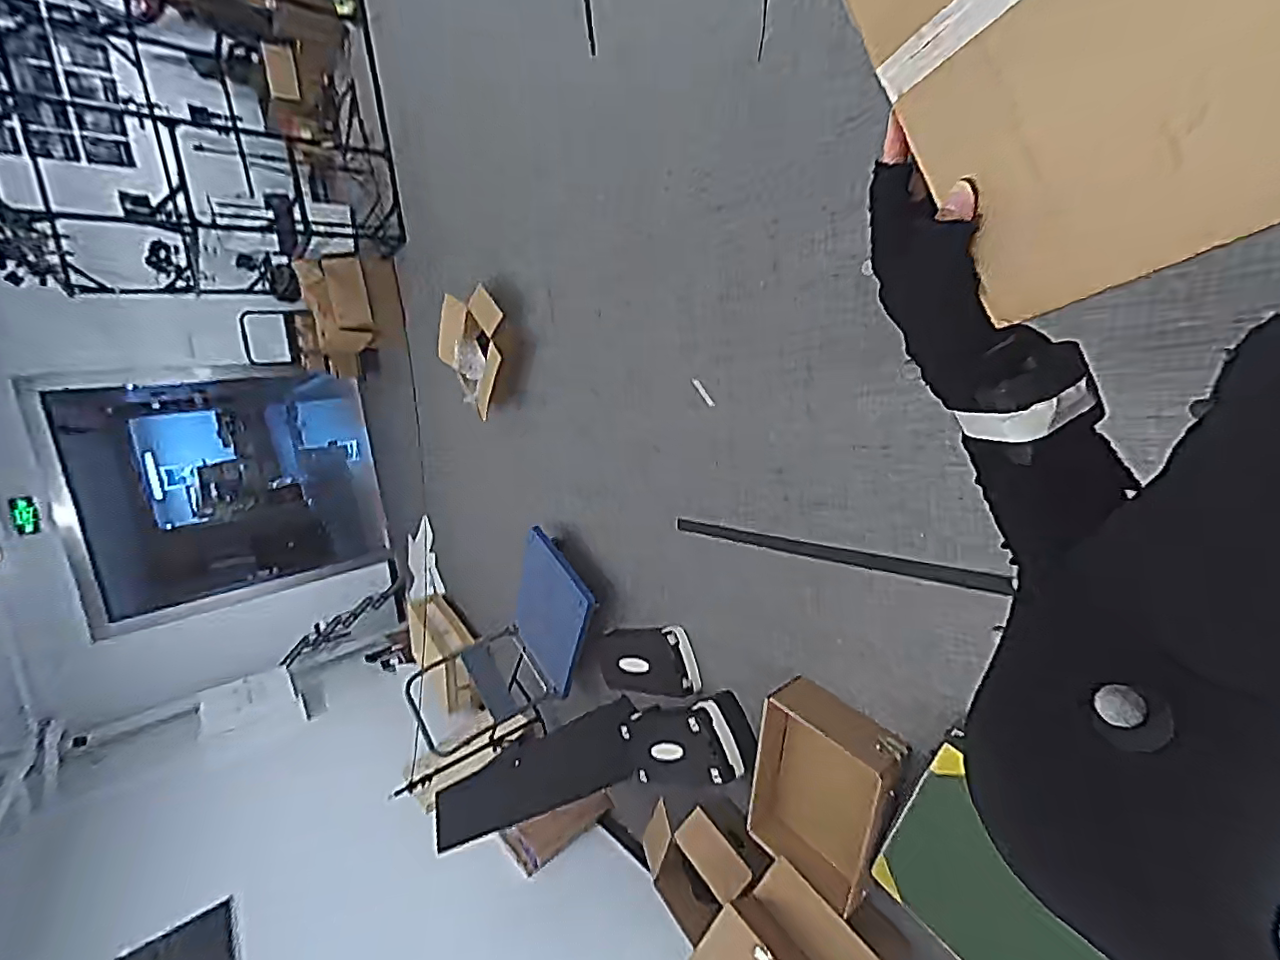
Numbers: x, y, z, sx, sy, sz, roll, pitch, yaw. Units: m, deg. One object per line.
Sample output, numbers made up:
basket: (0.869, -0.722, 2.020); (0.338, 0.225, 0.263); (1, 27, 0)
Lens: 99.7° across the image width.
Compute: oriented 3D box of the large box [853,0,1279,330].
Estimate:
large box: (0.362, -0.331, 0.241); (0.408, 0.320, 0.320); (-19, 101, 55)
